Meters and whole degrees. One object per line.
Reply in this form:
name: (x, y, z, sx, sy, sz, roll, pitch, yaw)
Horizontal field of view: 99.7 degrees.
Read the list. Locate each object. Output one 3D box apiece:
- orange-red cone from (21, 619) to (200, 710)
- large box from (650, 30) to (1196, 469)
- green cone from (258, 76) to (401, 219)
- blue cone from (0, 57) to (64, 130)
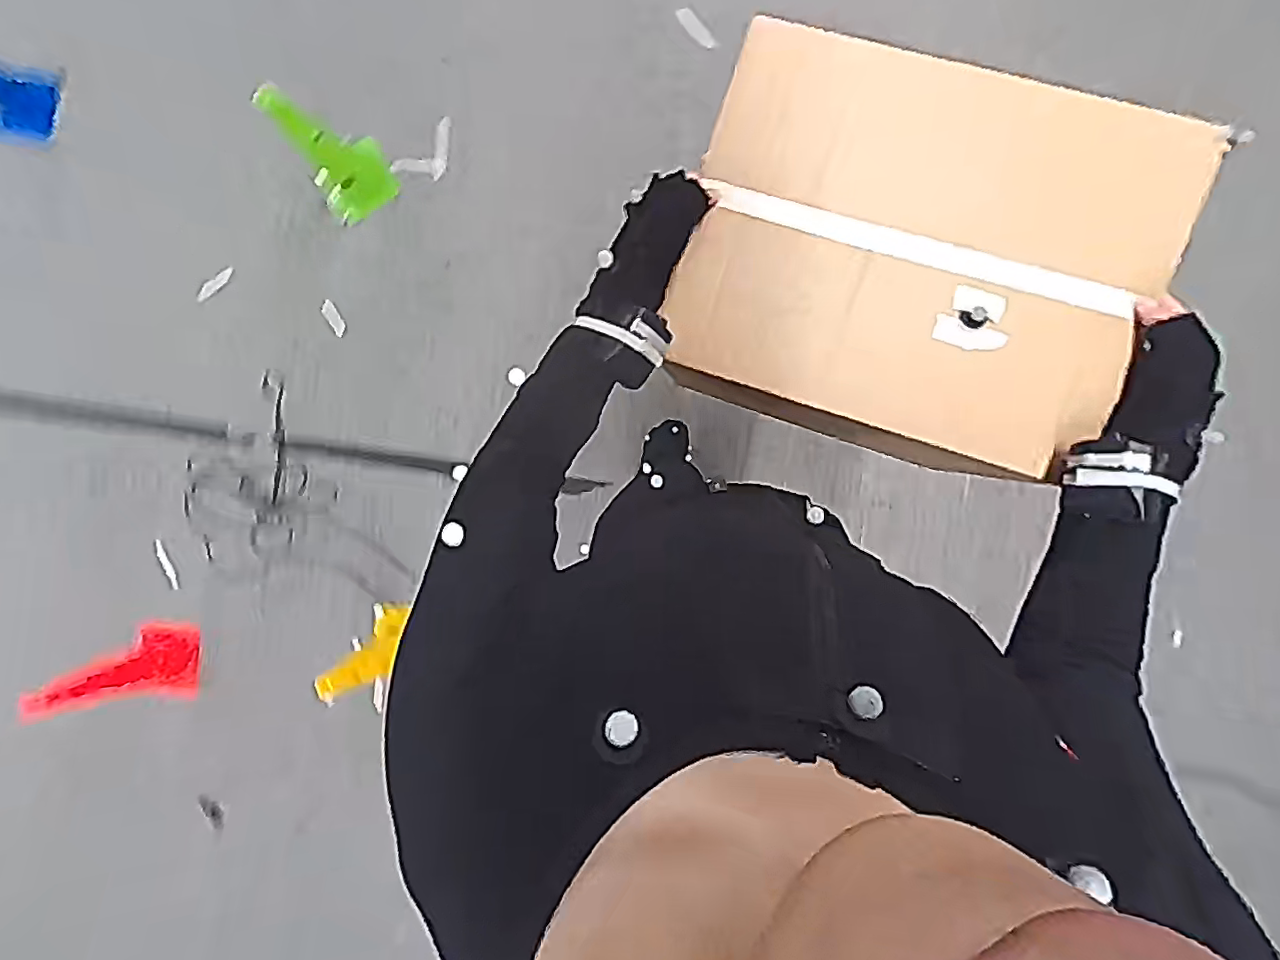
orange-red cone: (-1.430, 0.523, 1.451, 0.199, 0.360, 0.198, 5, 91, 4)
large box: (0.254, -0.219, 0.634, 0.408, 0.320, 0.320, 18, 97, 6)
green cone: (-0.831, -0.892, 1.407, 0.200, 0.368, 0.202, -30, 85, 4)
blue cone: (-1.914, -1.198, 1.527, 0.193, 0.380, 0.192, 11, 89, 5)
